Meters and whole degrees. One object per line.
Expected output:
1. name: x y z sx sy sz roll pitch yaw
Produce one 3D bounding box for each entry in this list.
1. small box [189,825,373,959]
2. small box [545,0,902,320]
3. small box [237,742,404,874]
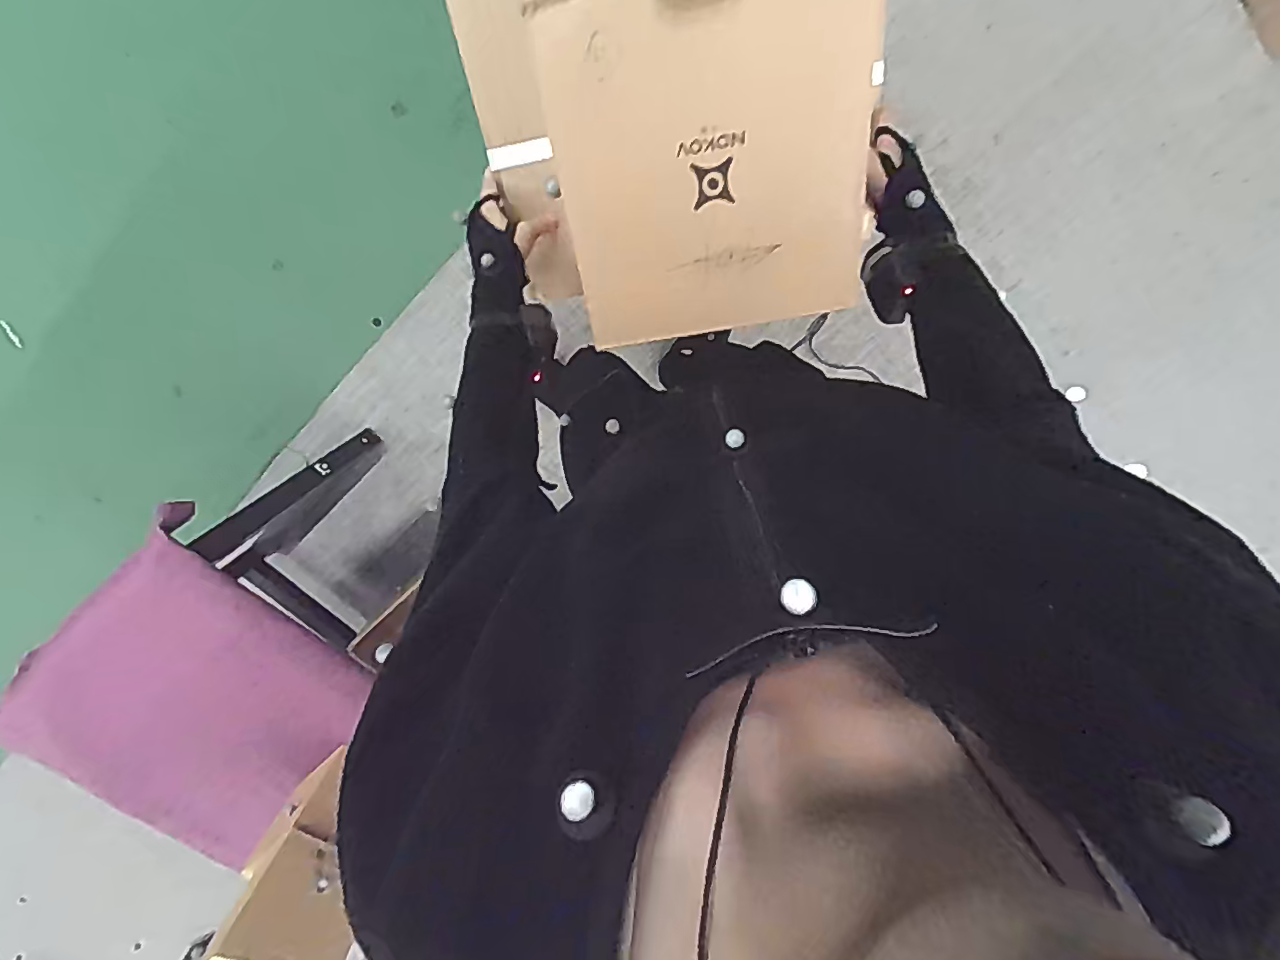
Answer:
1. small box: -0.542 0.673 0.819 0.168 0.176 0.179 36 110 -14
2. small box: 0.044 -0.224 0.342 0.168 0.176 0.179 -7 127 5
3. small box: -0.559 0.615 0.975 0.168 0.176 0.179 42 109 -15
